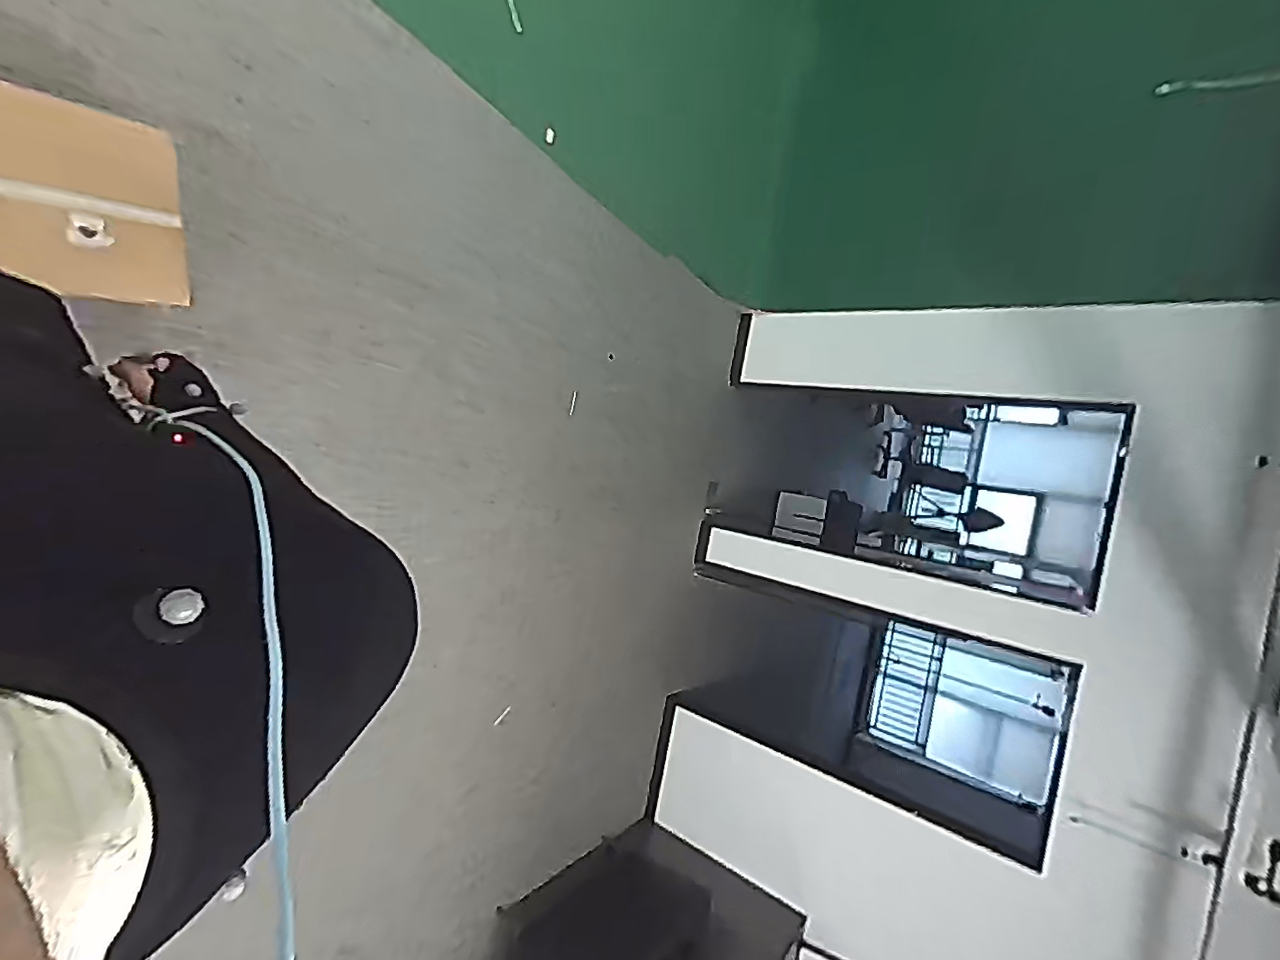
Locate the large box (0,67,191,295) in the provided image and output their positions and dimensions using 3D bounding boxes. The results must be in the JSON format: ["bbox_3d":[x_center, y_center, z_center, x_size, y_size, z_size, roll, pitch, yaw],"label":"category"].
[{"bbox_3d":[-1.110,-0.518,0.960,0.408,0.320,0.320,-11,111,-54],"label":"large box"}]
